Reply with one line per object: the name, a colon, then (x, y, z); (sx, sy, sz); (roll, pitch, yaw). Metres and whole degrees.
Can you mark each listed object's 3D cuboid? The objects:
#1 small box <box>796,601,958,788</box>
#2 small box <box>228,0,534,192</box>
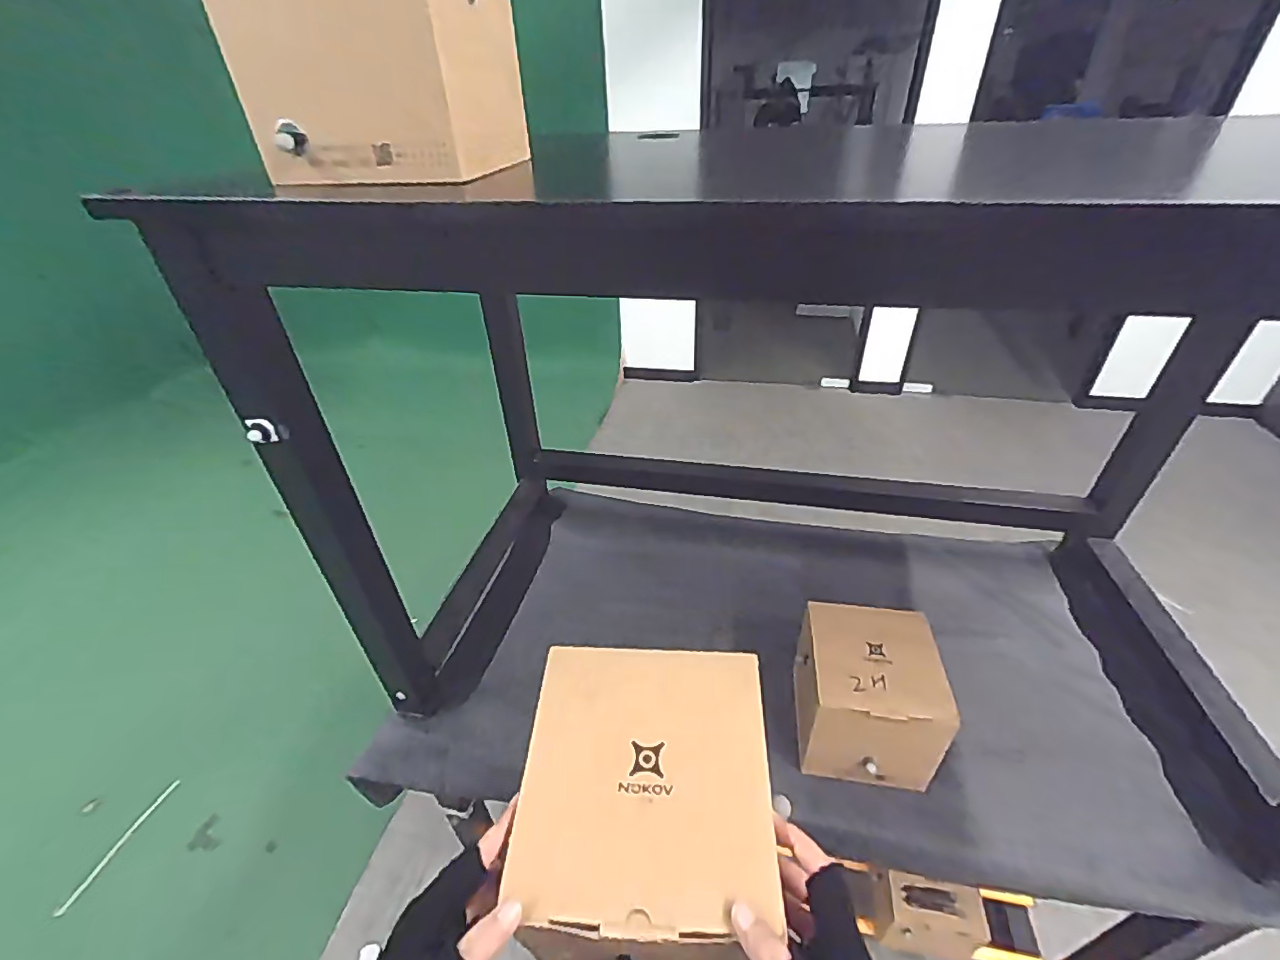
small box: (0.322, 0.302, 0.777); (0.168, 0.176, 0.179); (4, 35, 9)
small box: (-0.197, -0.347, 0.457); (0.168, 0.176, 0.179); (3, 35, 7)
